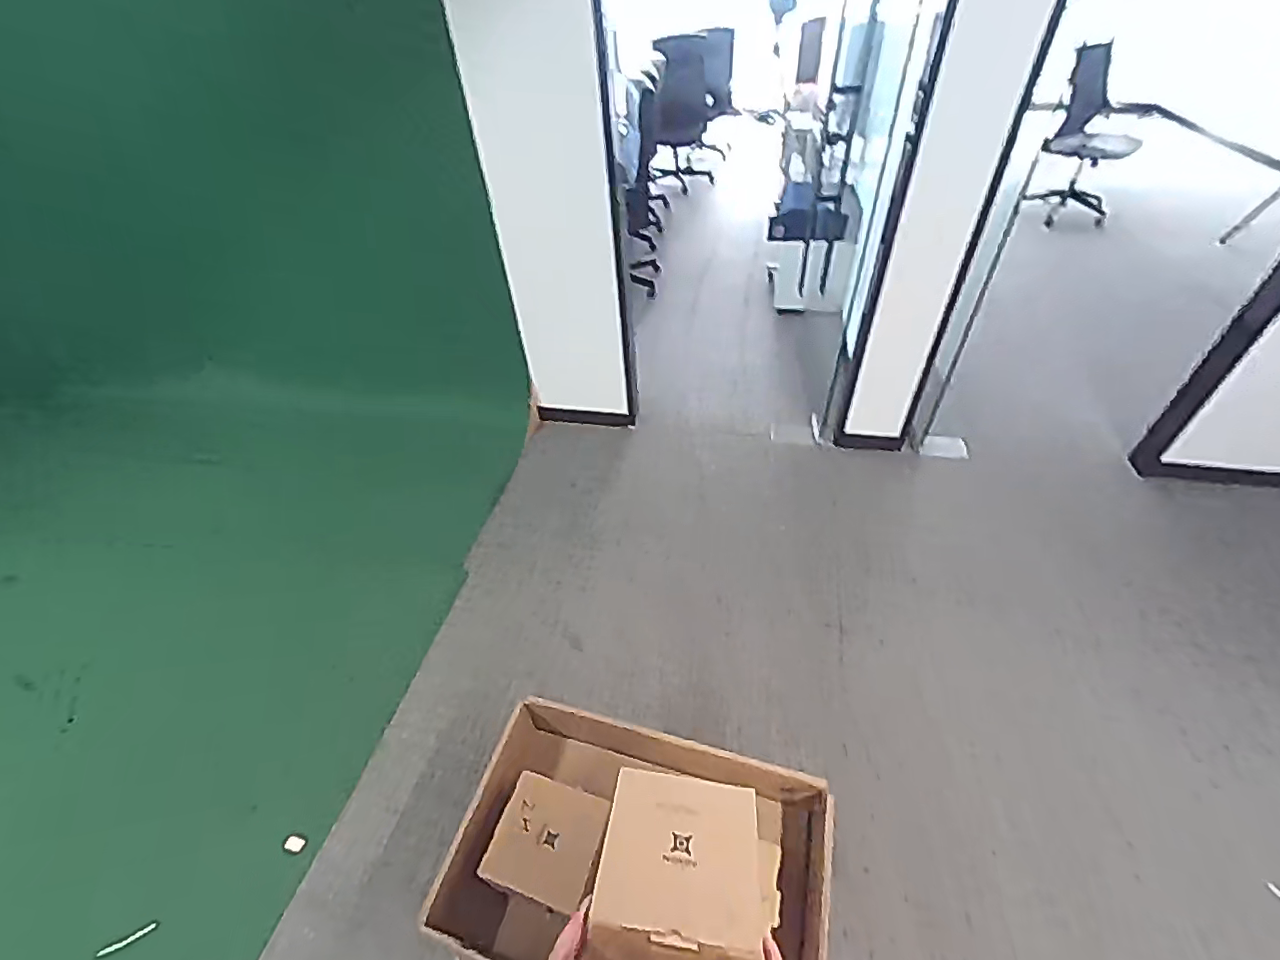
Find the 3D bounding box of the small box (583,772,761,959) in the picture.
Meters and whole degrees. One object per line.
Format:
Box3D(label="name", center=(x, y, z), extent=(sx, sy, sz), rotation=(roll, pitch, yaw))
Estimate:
Box3D(label="small box", center=(0.038, 0.466, 0.594), extent=(0.168, 0.176, 0.179), rotation=(6, 21, 7))
